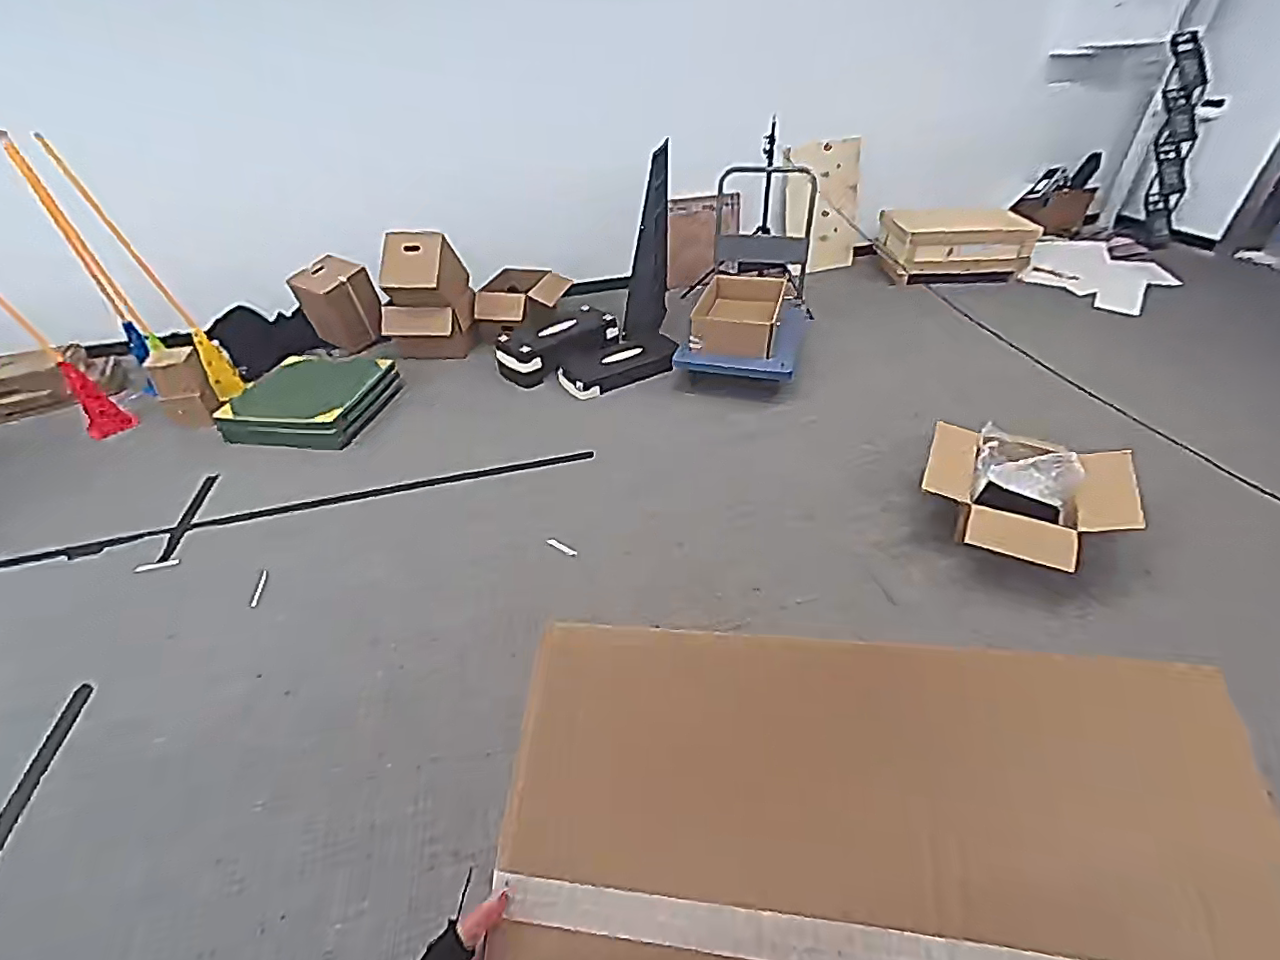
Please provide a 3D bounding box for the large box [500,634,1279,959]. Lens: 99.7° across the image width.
[{"bbox_3d":[0.142,0.318,0.409,0.408,0.320,0.320,0,62,12],"label":"large box"}]
